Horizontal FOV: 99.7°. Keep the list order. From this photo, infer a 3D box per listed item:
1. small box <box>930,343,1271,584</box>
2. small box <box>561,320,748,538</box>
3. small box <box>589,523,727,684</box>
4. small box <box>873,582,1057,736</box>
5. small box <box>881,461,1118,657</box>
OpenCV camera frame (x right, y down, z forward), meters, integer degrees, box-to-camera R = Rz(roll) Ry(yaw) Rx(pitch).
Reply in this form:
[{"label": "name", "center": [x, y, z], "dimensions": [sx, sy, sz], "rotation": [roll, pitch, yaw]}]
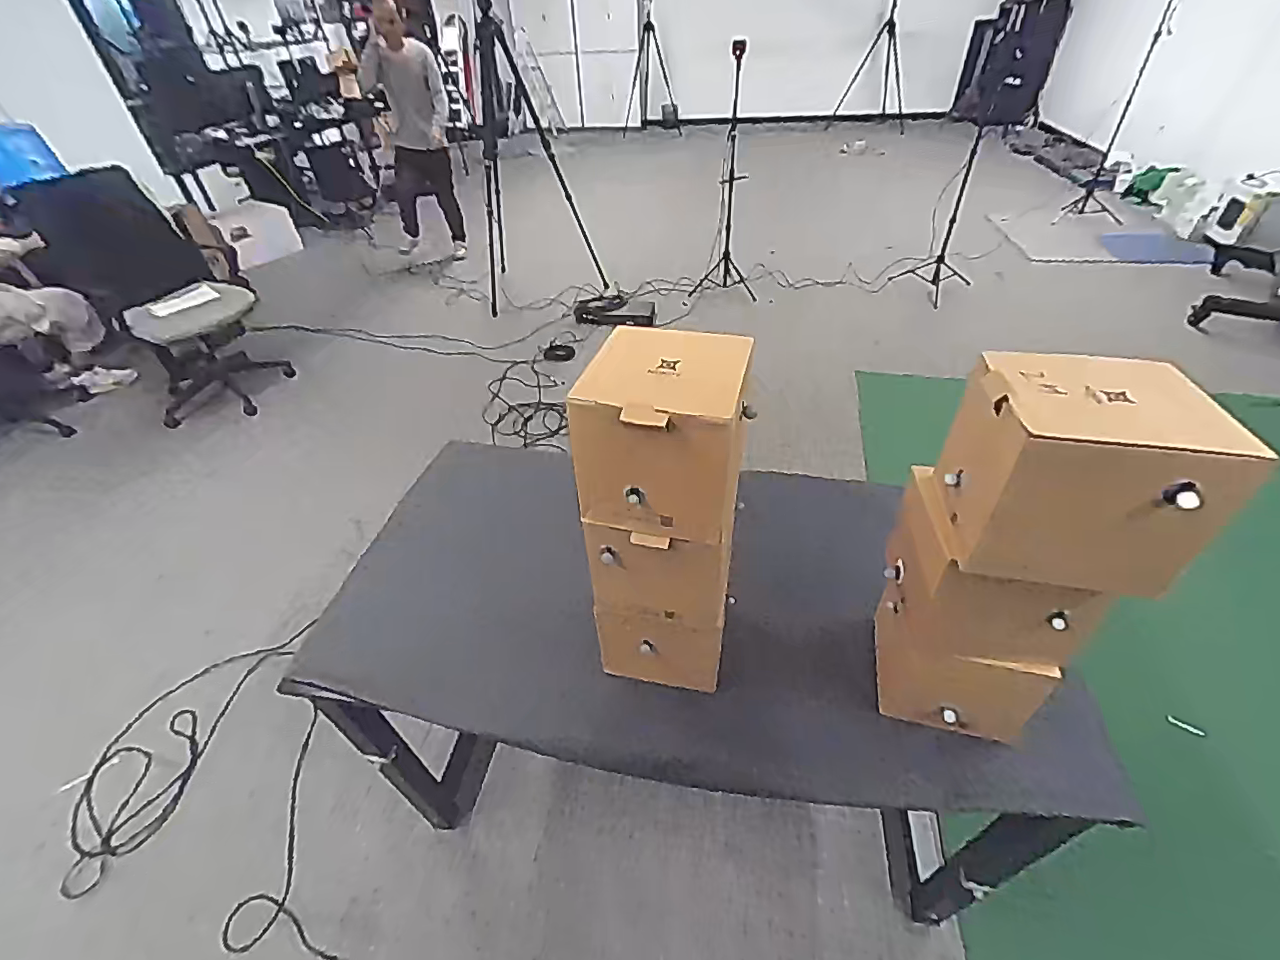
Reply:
[{"label": "small box", "center": [0.415, -0.018, 0.533], "dimensions": [0.179, 0.176, 0.168], "rotation": [6, 39, 12]}, {"label": "small box", "center": [0.023, -0.062, 0.617], "dimensions": [0.168, 0.176, 0.179], "rotation": [8, 41, 13]}, {"label": "small box", "center": [0.036, 0.189, 0.827], "dimensions": [0.179, 0.176, 0.168], "rotation": [6, 41, 12]}, {"label": "small box", "center": [0.432, 0.221, 0.757], "dimensions": [0.168, 0.176, 0.179], "rotation": [8, 41, 14]}, {"label": "small box", "center": [0.414, 0.095, 0.656], "dimensions": [0.179, 0.176, 0.168], "rotation": [2, 38, 9]}]
